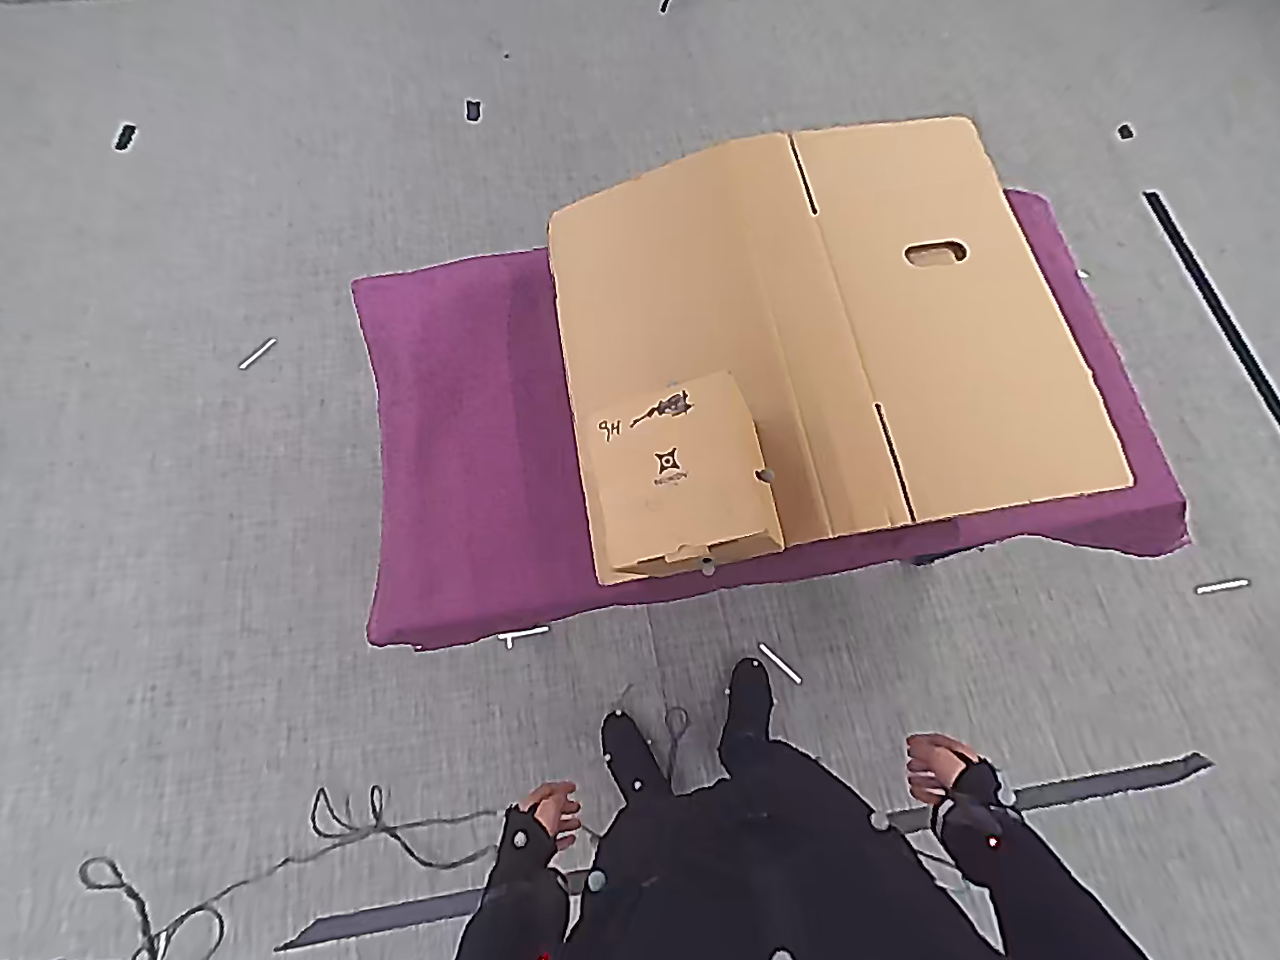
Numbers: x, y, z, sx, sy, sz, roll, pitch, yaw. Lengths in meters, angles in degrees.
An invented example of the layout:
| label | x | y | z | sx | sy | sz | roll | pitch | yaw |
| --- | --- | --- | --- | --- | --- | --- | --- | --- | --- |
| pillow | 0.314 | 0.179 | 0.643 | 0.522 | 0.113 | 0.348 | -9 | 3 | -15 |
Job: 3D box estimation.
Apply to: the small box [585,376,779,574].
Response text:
| label | x | y | z | sx | sy | sz | roll | pitch | yaw |
| --- | --- | --- | --- | --- | --- | --- | --- | --- | --- |
| small box | 0.056 | 0.009 | 0.627 | 0.168 | 0.176 | 0.179 | -16 | 74 | 17 |
